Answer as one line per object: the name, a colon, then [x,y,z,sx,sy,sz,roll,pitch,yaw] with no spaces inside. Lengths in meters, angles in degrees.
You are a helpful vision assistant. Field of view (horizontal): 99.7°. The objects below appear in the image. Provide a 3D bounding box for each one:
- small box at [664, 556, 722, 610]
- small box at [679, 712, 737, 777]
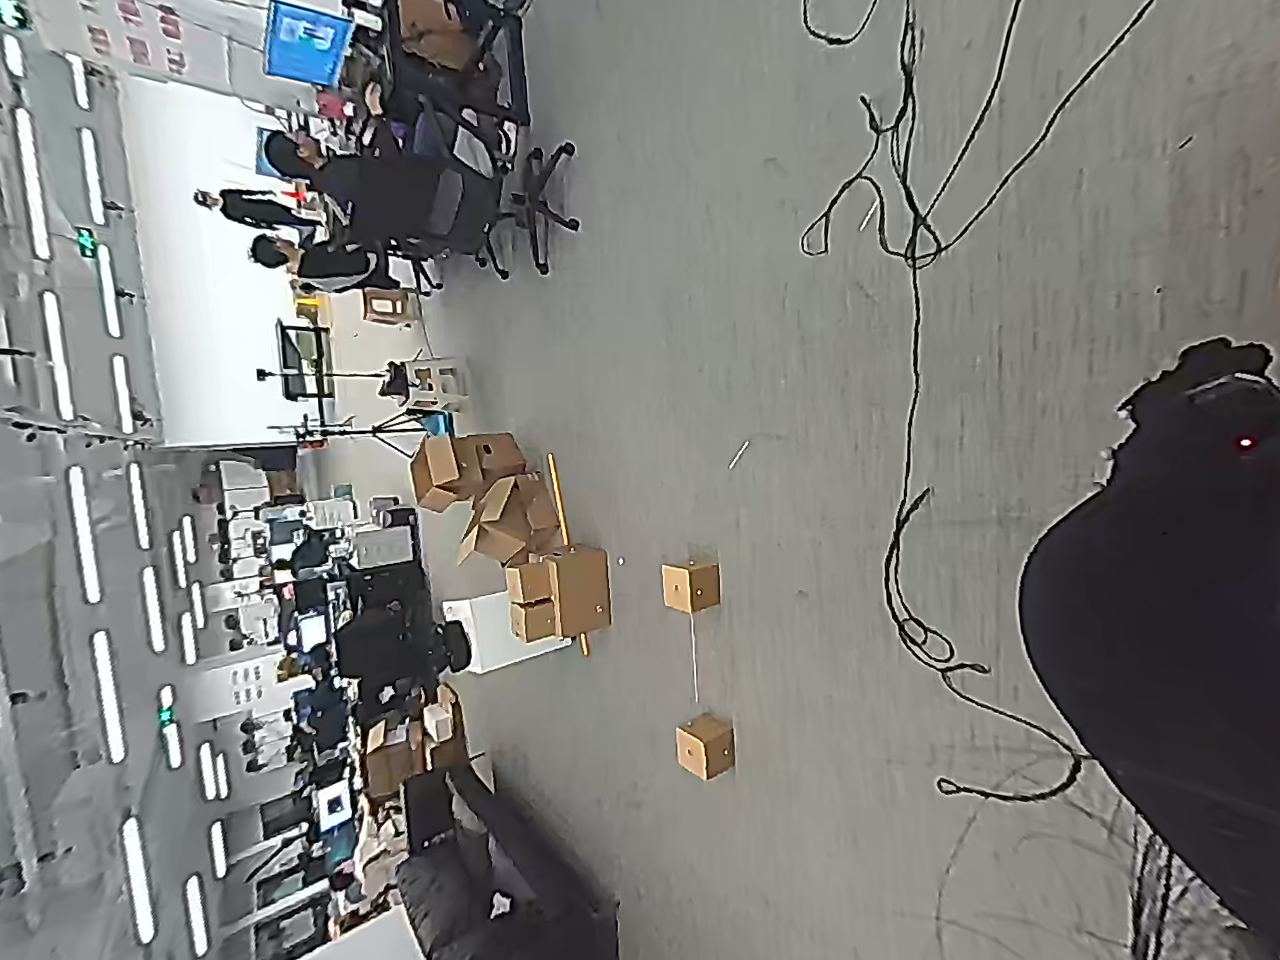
small box: [0.220,0.416,2.221,0.168,0.176,0.179,1,98,53]
small box: [0.285,1.097,2.262,0.179,0.176,0.168,1,98,53]
